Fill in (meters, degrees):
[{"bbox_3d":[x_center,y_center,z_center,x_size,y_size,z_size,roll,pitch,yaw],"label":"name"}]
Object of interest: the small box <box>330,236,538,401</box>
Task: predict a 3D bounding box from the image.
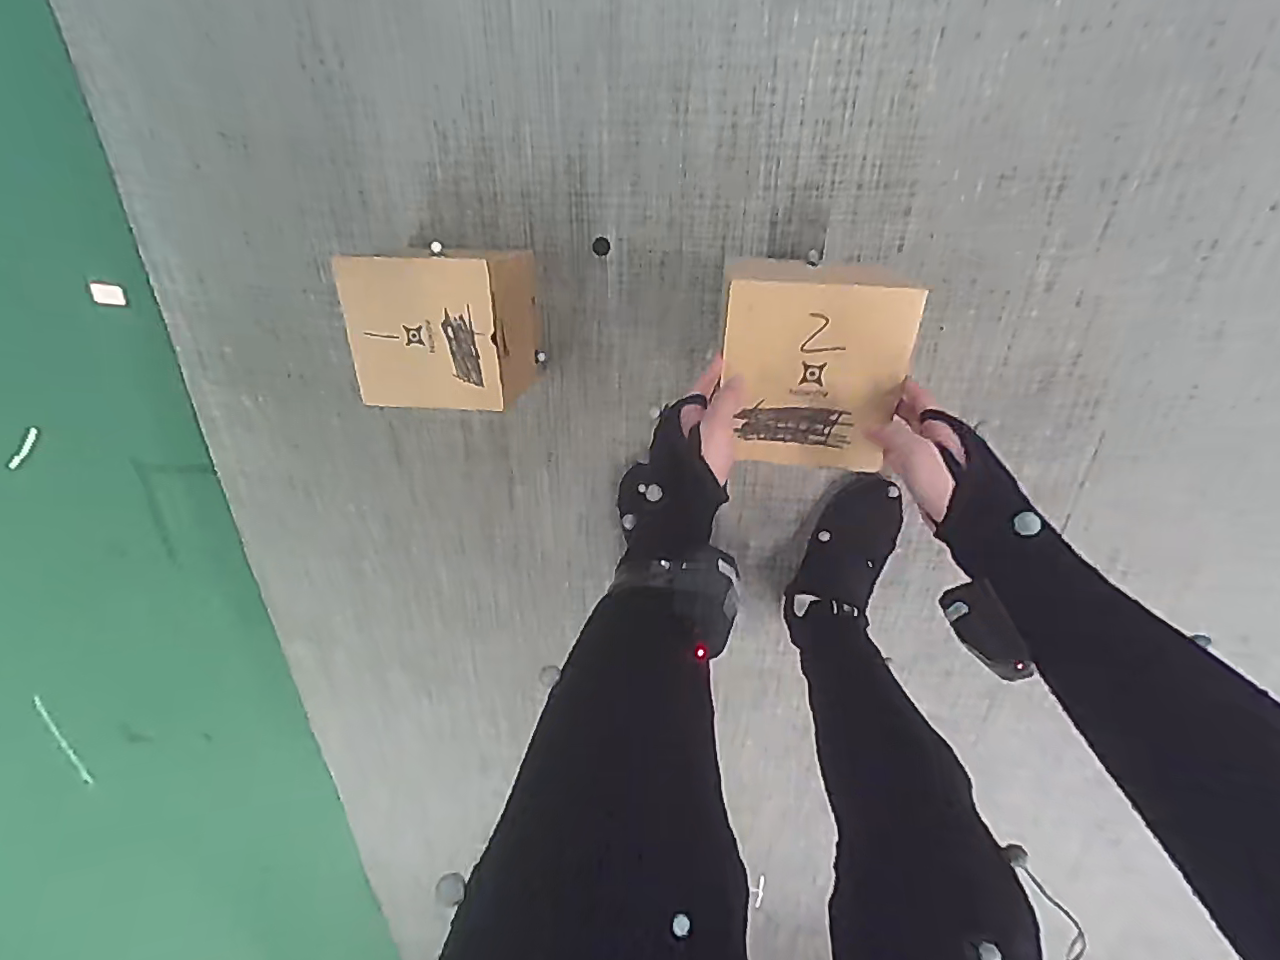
[{"bbox_3d":[-0.227,-0.202,0.655,0.179,0.176,0.168,4,116,5],"label":"small box"}]
